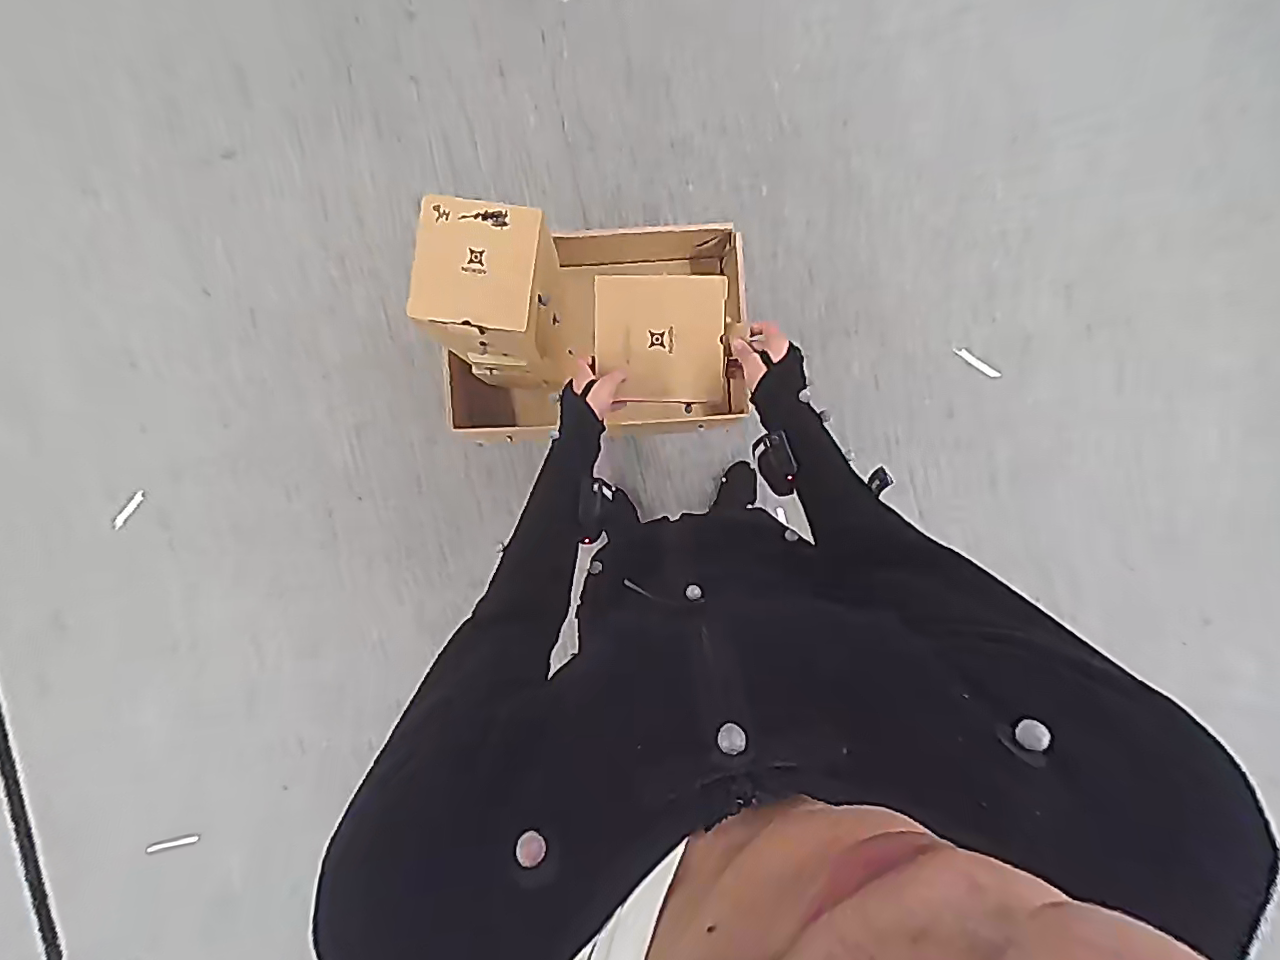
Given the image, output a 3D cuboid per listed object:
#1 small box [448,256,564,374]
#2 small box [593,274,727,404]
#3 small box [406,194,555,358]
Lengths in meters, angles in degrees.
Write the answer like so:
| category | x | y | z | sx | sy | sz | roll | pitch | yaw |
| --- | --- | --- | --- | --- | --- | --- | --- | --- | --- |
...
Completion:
| category | x | y | z | sx | sy | sz | roll | pitch | yaw |
| --- | --- | --- | --- | --- | --- | --- | --- | --- | --- |
| small box | -0.232 | -0.296 | 0.978 | 0.168 | 0.176 | 0.179 | 4 | 89 | -1 |
| small box | 0.027 | -0.198 | 0.793 | 0.179 | 0.176 | 0.168 | 1 | 98 | 2 |
| small box | -0.228 | -0.292 | 0.814 | 0.168 | 0.176 | 0.179 | 8 | 90 | -1 |
